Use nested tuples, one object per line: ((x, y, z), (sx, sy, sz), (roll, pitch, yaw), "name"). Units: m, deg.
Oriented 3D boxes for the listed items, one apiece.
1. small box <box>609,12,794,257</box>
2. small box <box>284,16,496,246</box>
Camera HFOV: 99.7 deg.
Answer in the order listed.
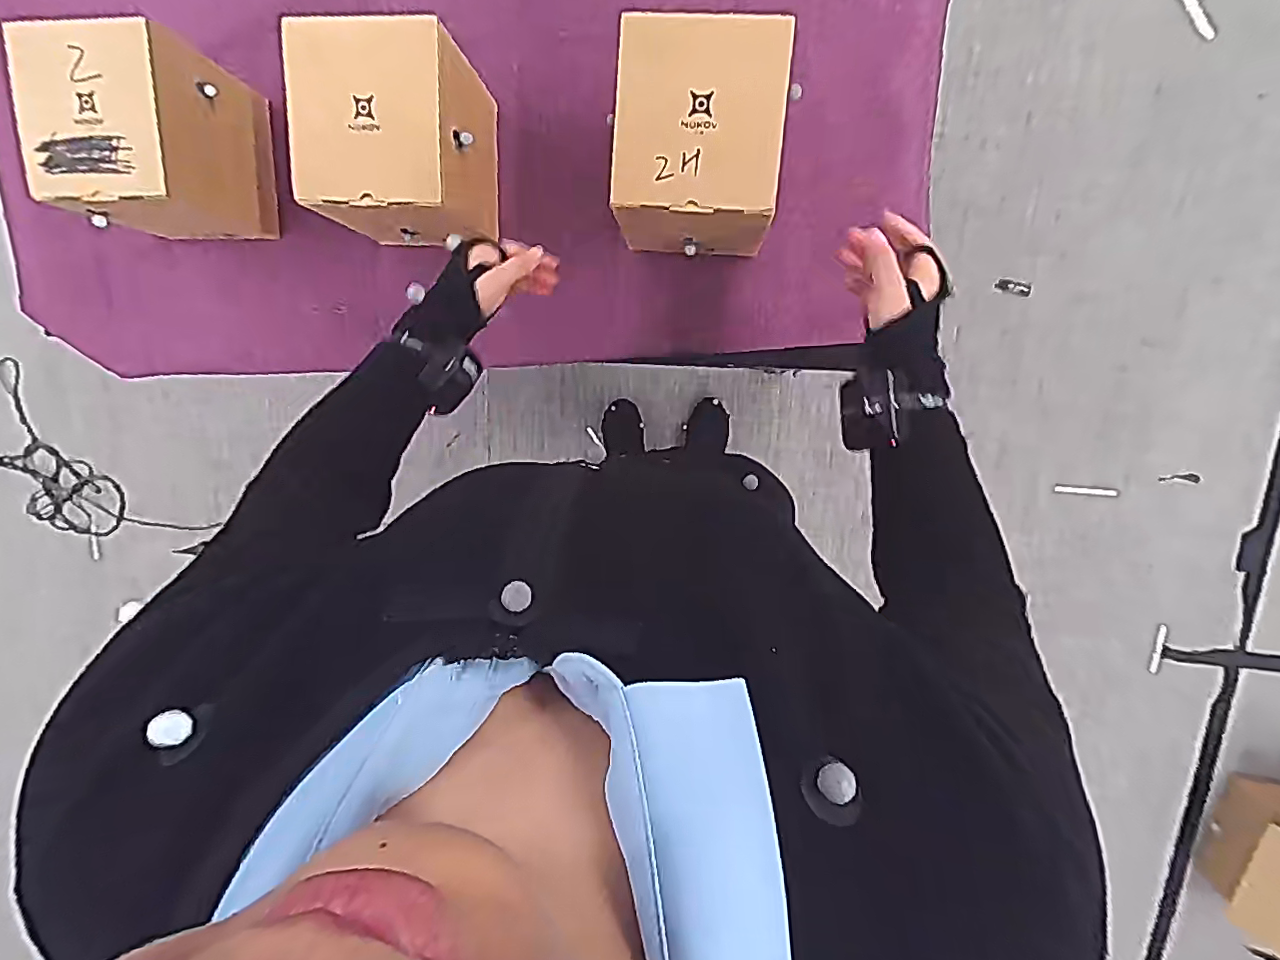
((0.063, -0.365, 0.600), (0.168, 0.176, 0.179), (5, 99, 5), "small box")
((-0.275, -0.388, 0.630), (0.168, 0.176, 0.179), (3, 101, 4), "small box")
